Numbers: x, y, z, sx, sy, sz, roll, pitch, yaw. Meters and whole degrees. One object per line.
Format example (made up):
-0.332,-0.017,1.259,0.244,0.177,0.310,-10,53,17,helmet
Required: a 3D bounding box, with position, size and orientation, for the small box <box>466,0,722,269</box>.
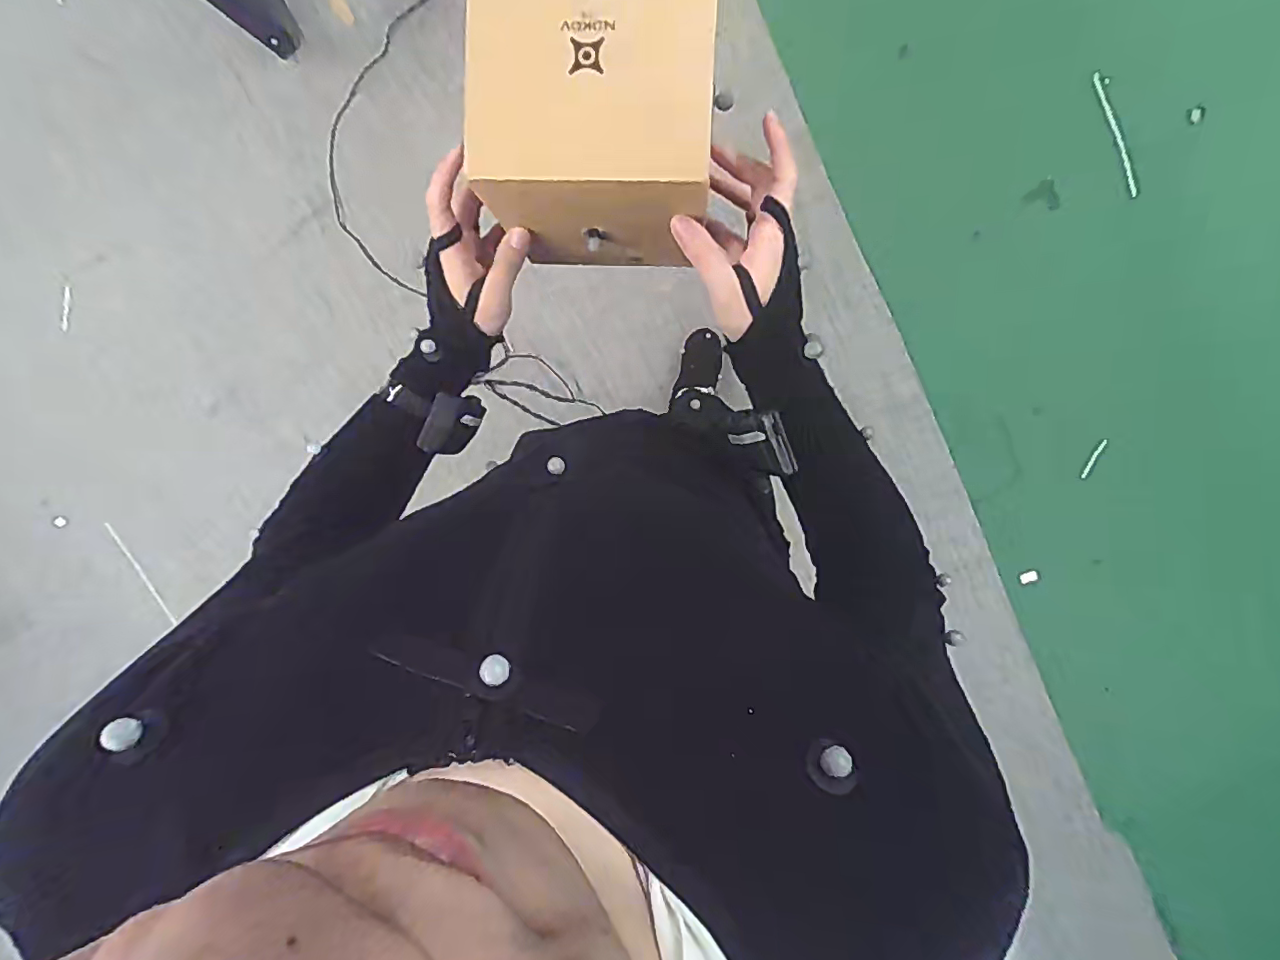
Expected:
-0.025,-0.281,0.430,0.168,0.176,0.179,3,93,4,small box
